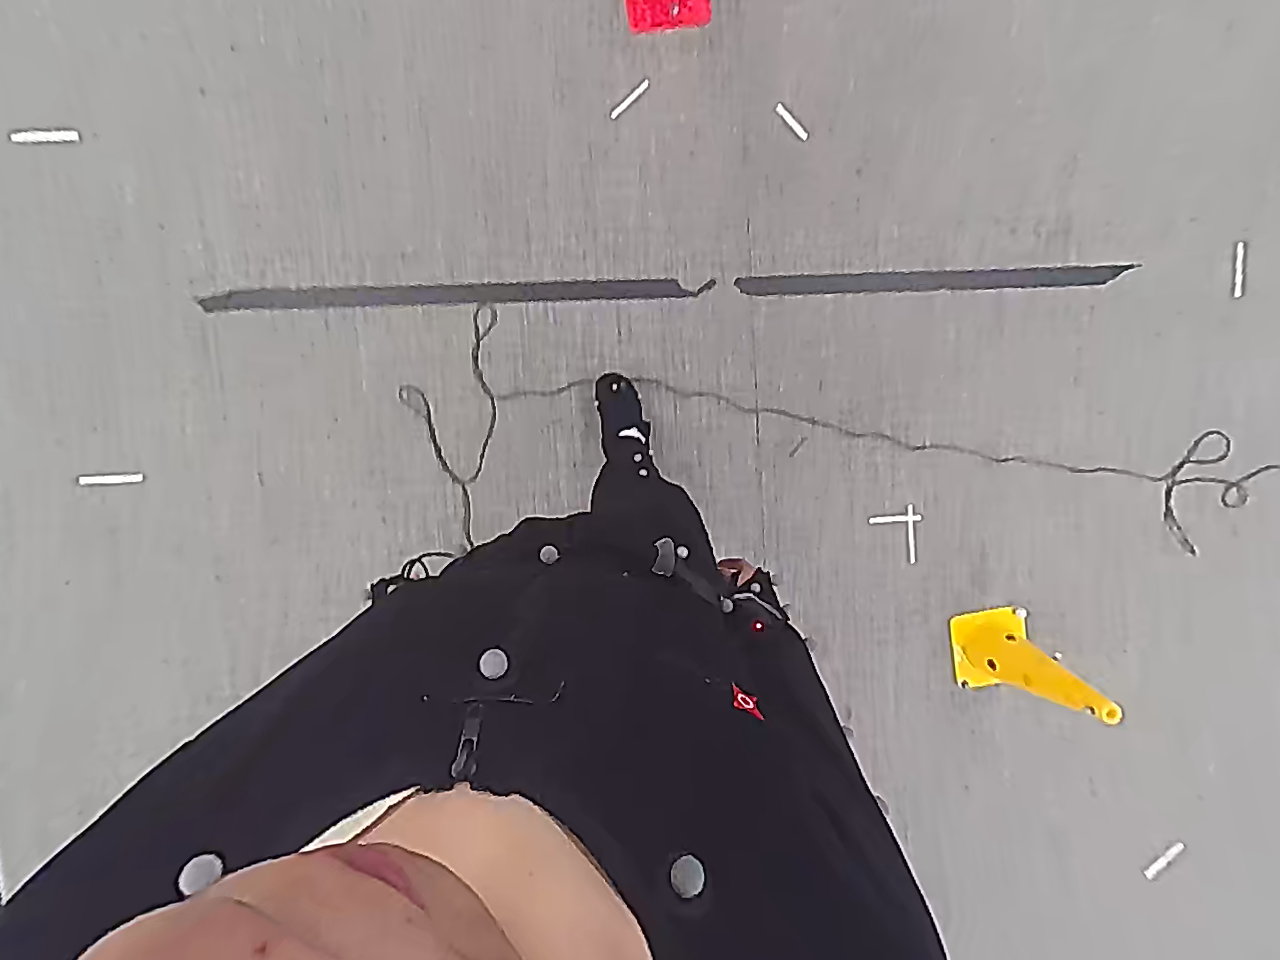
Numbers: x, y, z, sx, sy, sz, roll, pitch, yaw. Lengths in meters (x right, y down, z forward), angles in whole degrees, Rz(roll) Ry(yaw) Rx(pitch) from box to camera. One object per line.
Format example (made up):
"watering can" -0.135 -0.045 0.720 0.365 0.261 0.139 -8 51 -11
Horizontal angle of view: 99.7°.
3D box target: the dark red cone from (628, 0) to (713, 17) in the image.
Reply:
"dark red cone" 0.067 -1.157 1.073 0.202 0.394 0.201 -11 96 -1
